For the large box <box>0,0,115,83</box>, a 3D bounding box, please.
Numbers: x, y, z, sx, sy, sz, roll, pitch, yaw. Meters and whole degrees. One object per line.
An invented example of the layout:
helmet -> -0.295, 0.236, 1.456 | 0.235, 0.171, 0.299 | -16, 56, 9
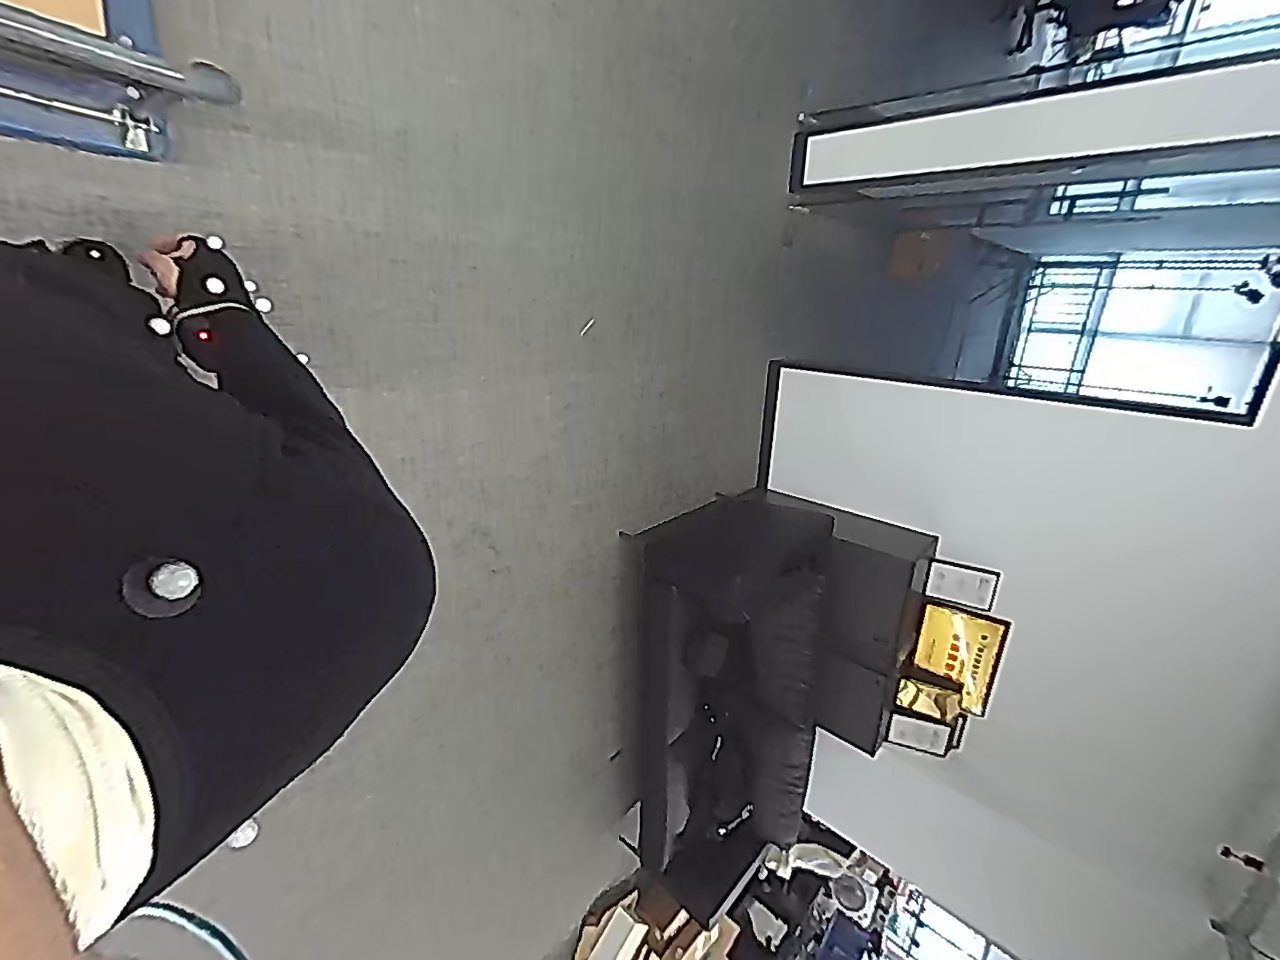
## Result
large box -> -0.939, -0.820, 0.692 | 0.320, 0.320, 0.408 | -13, 113, -47
